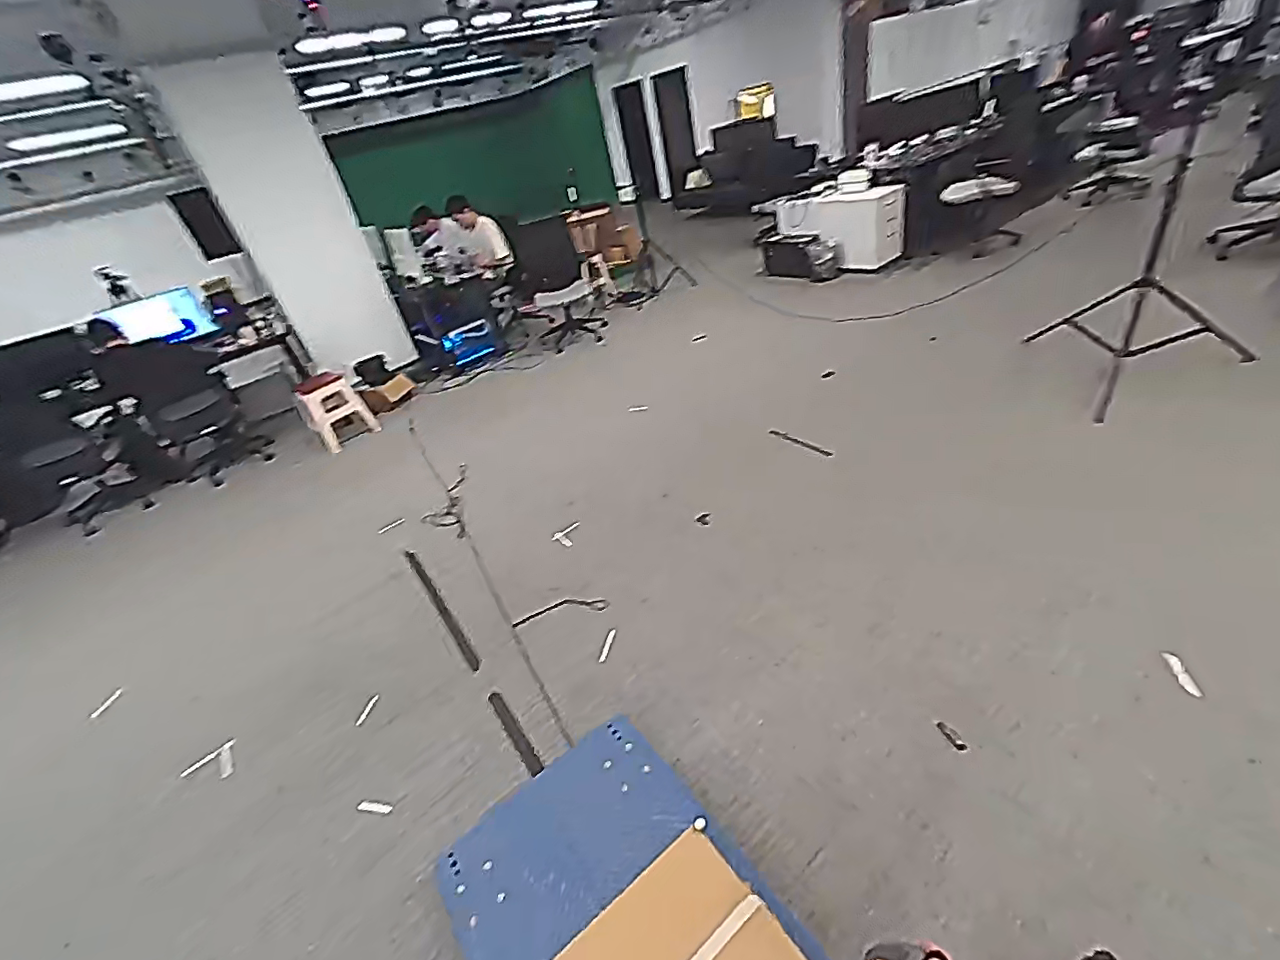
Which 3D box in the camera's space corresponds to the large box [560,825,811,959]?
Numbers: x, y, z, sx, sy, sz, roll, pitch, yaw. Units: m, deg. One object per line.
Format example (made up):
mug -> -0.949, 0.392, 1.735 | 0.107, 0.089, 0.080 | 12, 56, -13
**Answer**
large box -> 0.072, 0.900, 0.884 | 0.408, 0.320, 0.320 | -31, 37, -24
